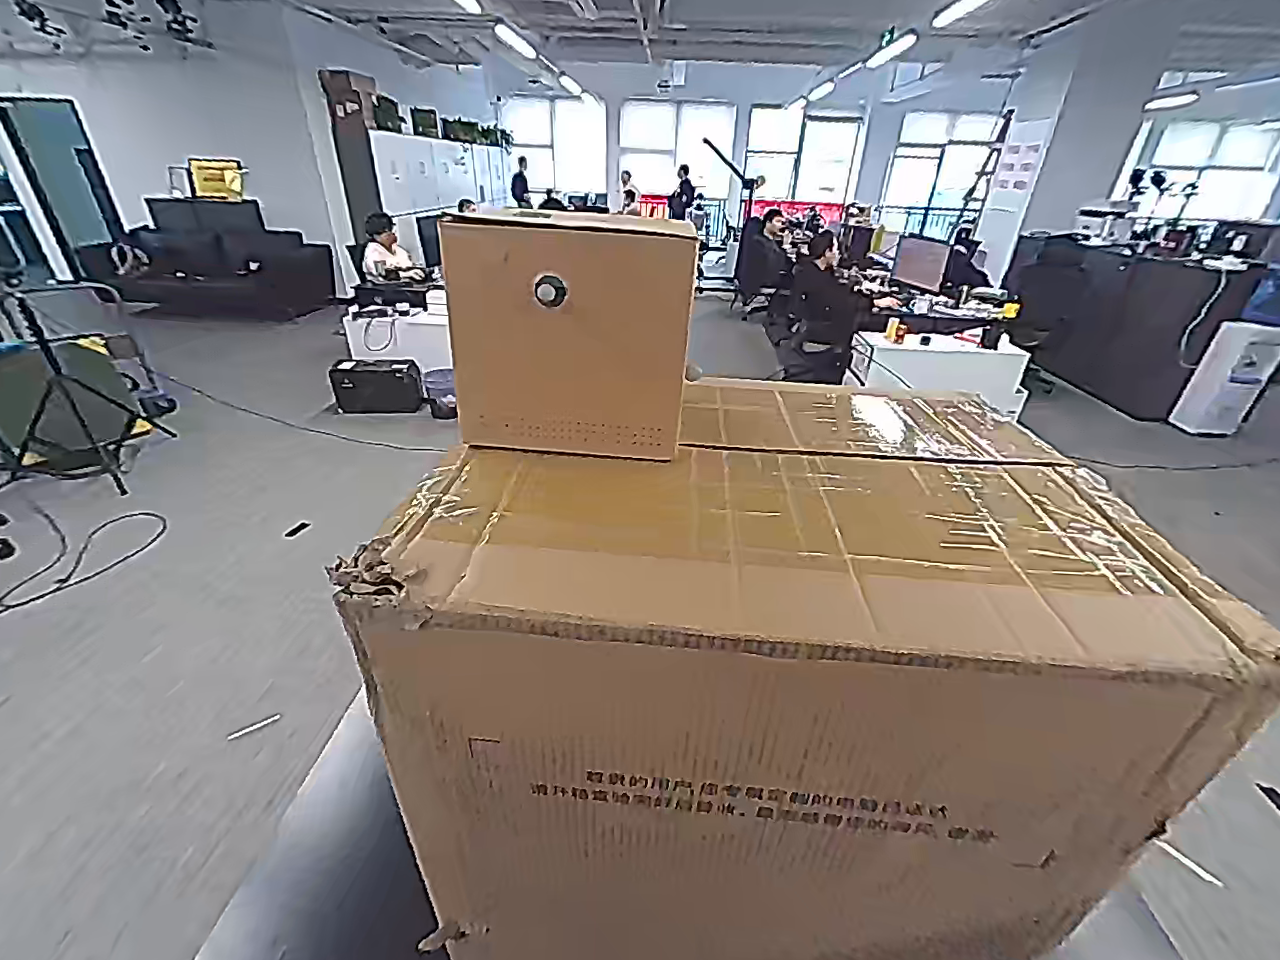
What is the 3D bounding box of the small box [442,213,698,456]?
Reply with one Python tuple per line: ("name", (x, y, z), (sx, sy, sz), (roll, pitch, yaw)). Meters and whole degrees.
("small box", (-0.046, -0.130, 0.464), (0.179, 0.176, 0.168), (5, 28, 2))
